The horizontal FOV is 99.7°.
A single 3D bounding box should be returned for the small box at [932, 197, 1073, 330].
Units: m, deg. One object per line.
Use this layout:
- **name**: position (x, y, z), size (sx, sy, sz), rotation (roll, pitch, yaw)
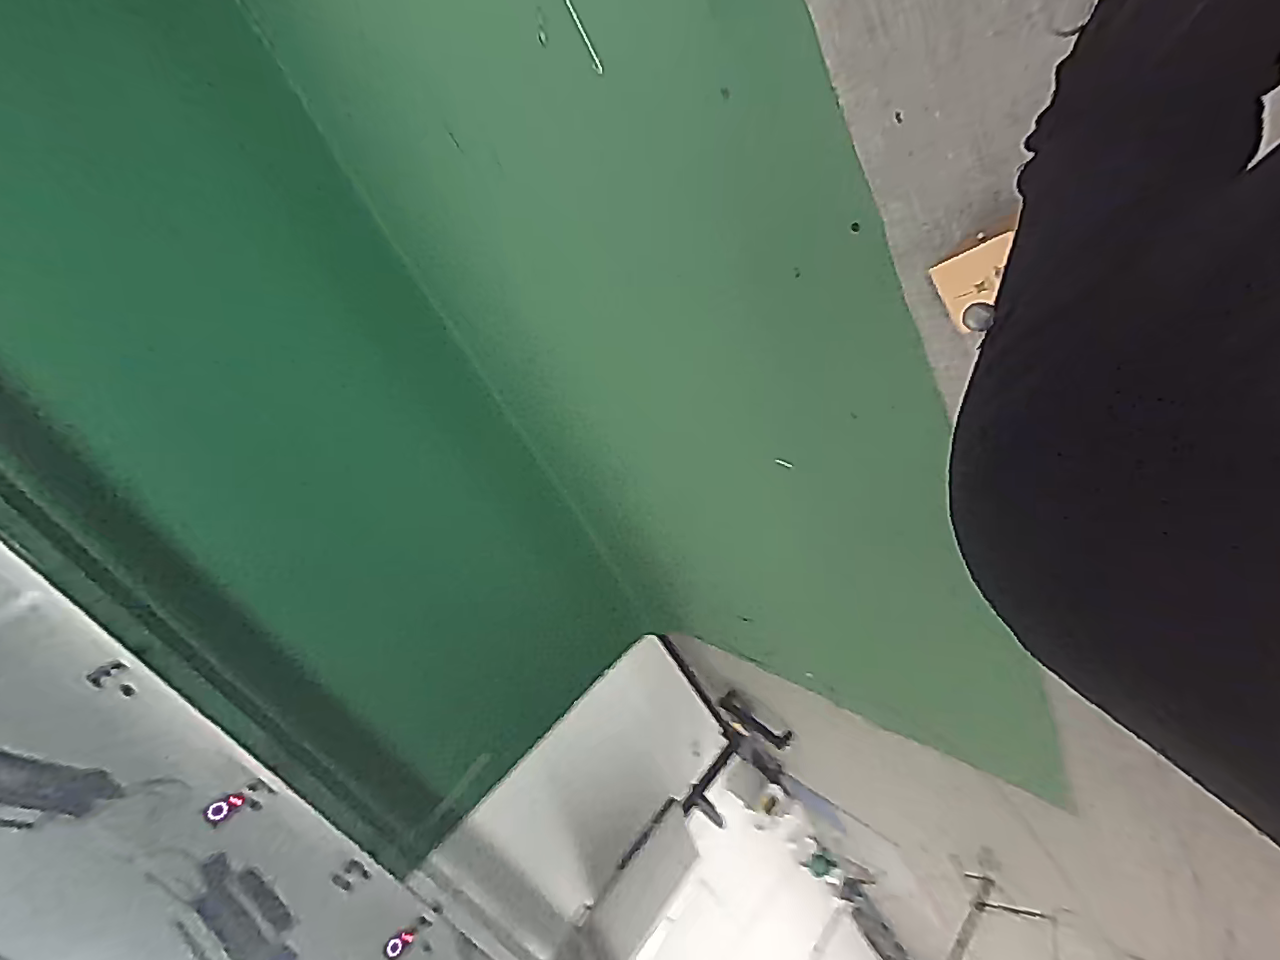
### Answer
- **small box**: position (0.758, -0.448, 1.124), size (0.168, 0.176, 0.179), rotation (55, 156, -11)
